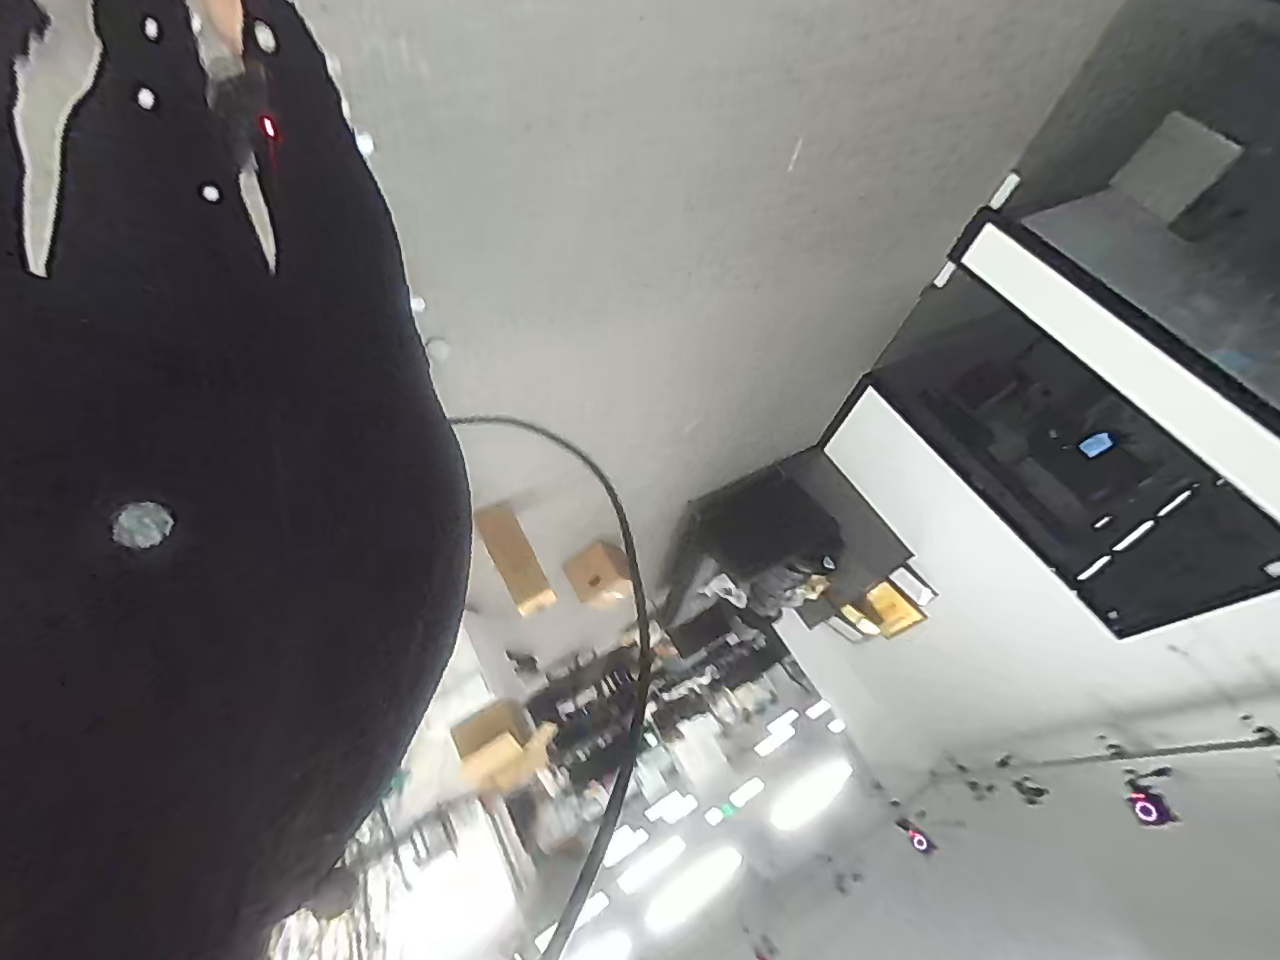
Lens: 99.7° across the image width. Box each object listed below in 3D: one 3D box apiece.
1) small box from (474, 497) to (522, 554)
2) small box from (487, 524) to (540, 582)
[{"bbox_3d":[-0.659,0.210,2.521,0.179,0.176,0.168,-25,156,-19],"label":"small box"},{"bbox_3d":[-0.576,0.330,2.448,0.179,0.176,0.168,-28,158,-17],"label":"small box"}]
